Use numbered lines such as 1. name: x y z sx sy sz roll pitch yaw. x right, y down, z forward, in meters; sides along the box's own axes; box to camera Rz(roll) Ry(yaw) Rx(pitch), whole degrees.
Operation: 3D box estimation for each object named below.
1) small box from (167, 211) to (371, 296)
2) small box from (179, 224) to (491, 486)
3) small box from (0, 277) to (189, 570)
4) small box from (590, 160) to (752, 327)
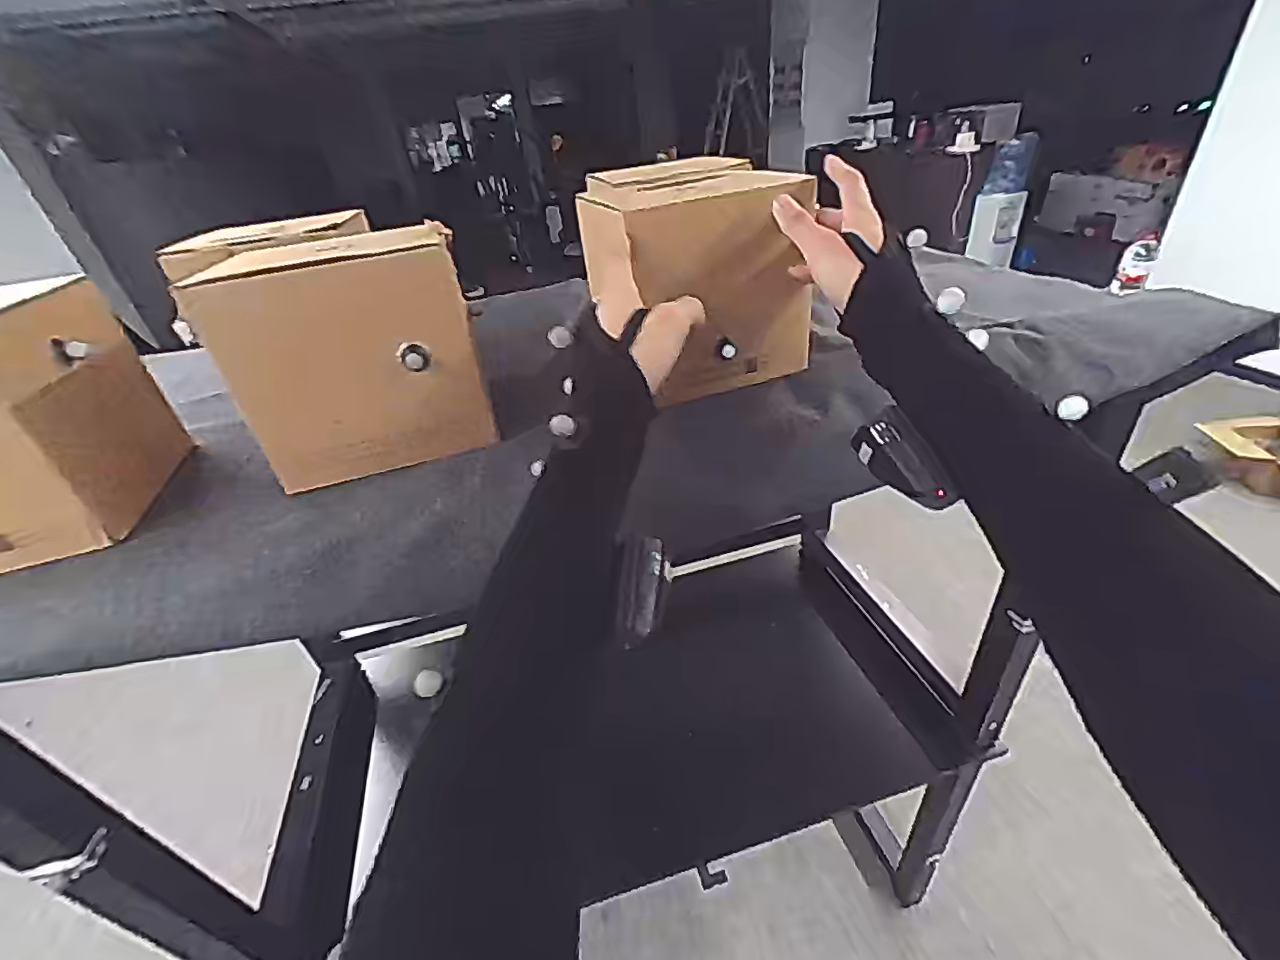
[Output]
1. small box: -0.391 -0.208 0.645 0.168 0.176 0.179 -14 33 -9
2. small box: -0.235 -0.117 0.477 0.179 0.176 0.168 -14 32 -12
3. small box: -0.502 -0.042 0.418 0.168 0.176 0.179 -16 35 -12
4. small box: 0.038 -0.316 0.718 0.168 0.176 0.179 -14 34 -8
